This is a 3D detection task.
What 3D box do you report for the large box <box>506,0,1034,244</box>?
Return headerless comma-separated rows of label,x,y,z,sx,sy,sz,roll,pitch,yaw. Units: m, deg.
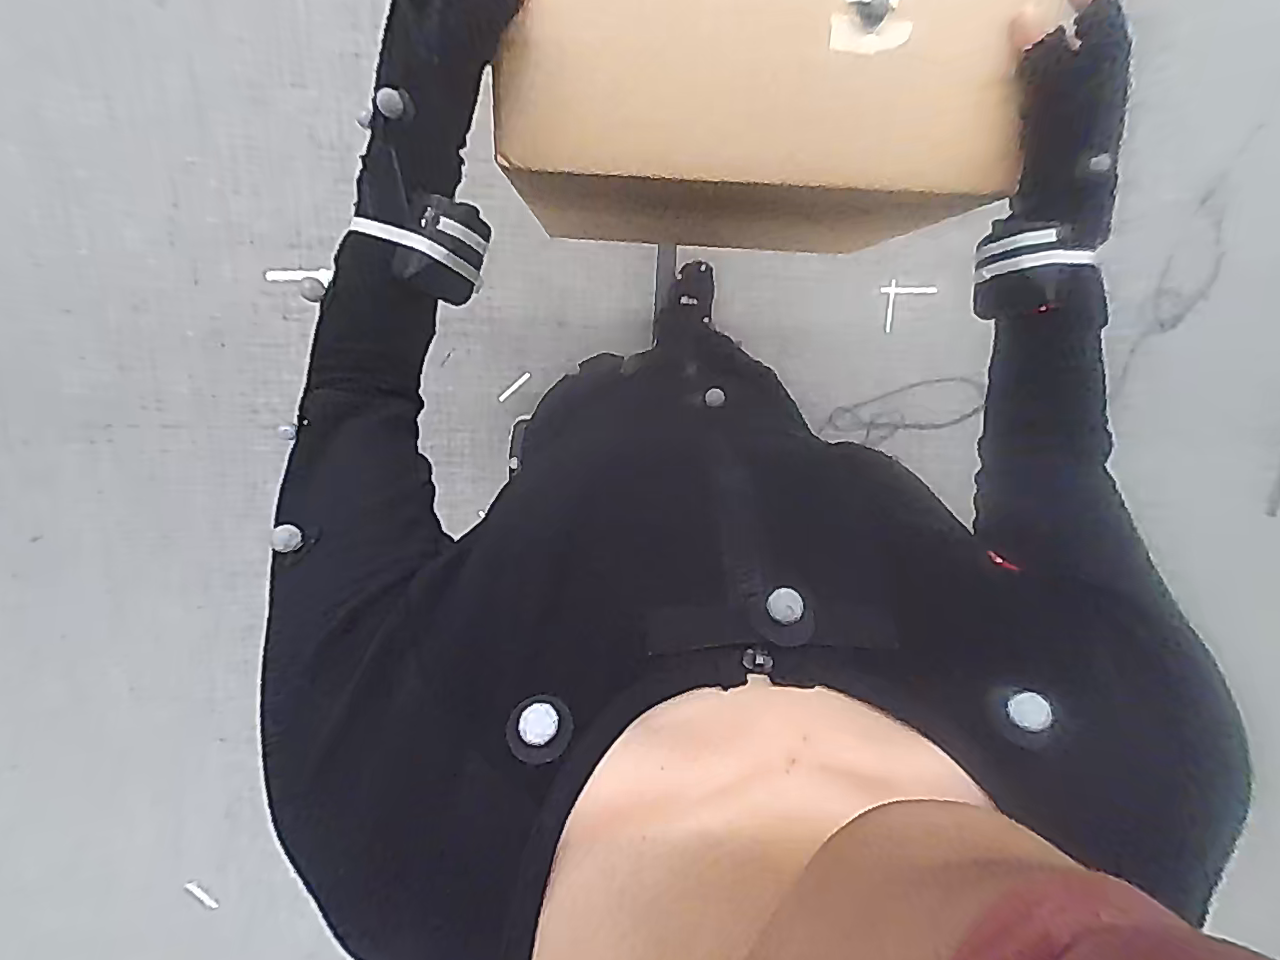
large box,0.091,-0.427,0.535,0.408,0.320,0.320,1,105,-3
